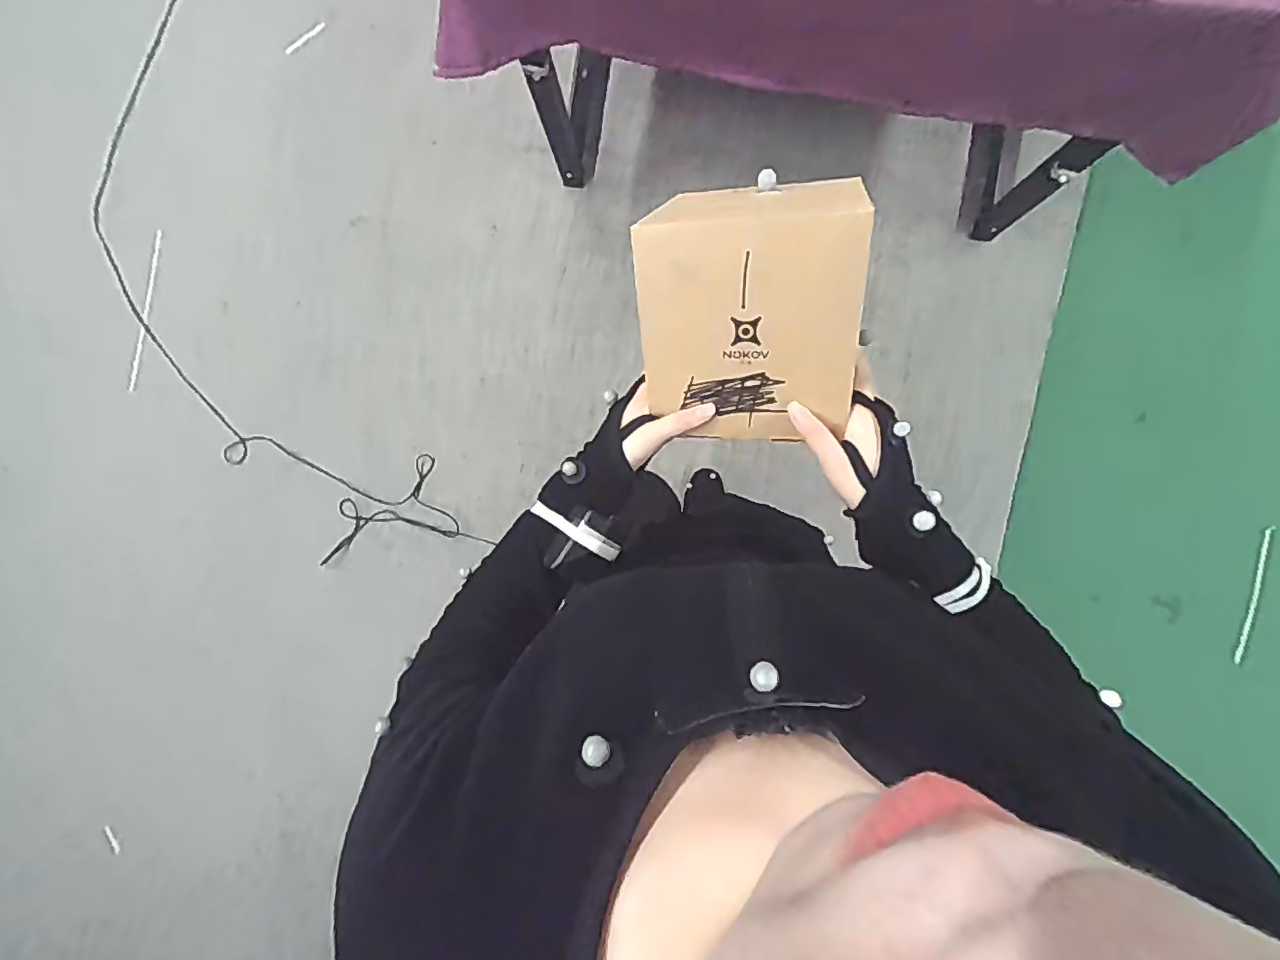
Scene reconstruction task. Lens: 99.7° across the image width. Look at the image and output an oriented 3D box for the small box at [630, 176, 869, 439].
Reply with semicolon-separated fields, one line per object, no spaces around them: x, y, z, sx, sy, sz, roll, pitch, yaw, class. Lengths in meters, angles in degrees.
0.100;-0.155;0.479;0.168;0.176;0.179;3;124;16;small box
